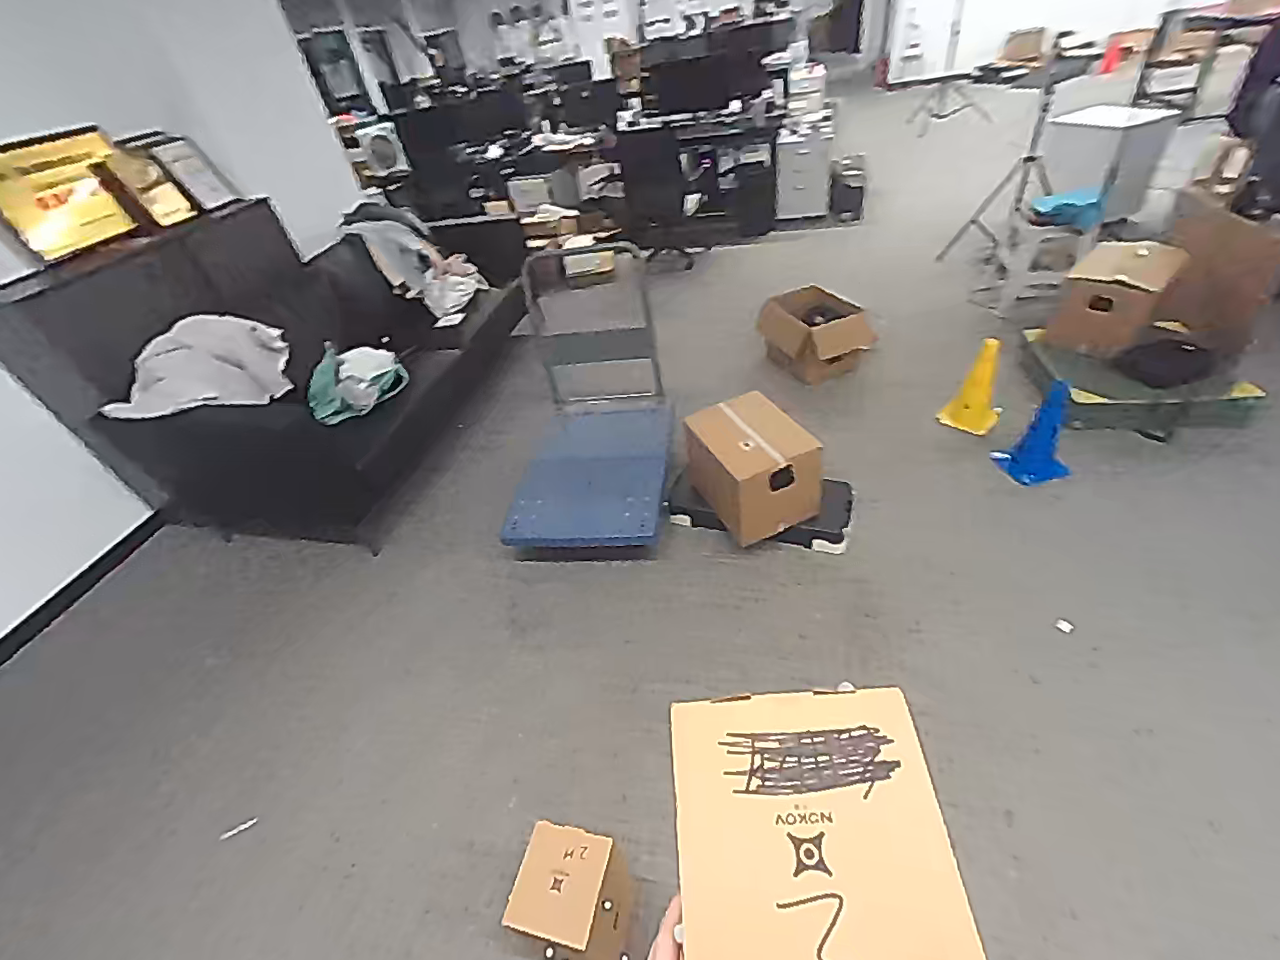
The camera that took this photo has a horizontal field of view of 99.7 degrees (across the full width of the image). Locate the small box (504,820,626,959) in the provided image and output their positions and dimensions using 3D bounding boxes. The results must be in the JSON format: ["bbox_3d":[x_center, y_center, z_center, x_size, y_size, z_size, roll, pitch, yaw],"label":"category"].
[{"bbox_3d":[-0.135,0.805,1.055,0.168,0.176,0.179,4,42,17],"label":"small box"}]

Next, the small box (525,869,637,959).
[{"bbox_3d":[-0.116,0.929,1.162,0.179,0.176,0.168,3,42,17],"label":"small box"}]
